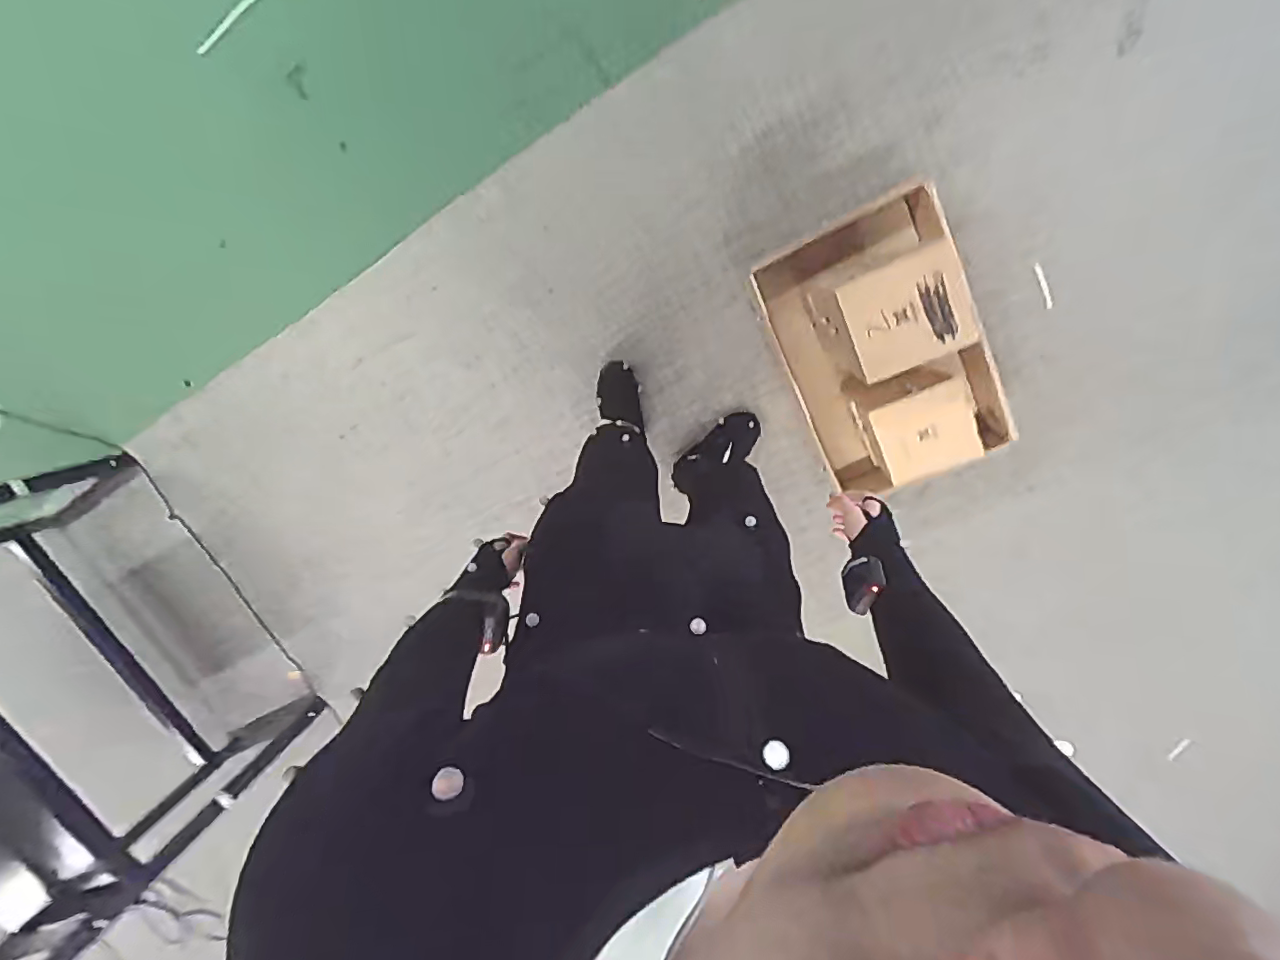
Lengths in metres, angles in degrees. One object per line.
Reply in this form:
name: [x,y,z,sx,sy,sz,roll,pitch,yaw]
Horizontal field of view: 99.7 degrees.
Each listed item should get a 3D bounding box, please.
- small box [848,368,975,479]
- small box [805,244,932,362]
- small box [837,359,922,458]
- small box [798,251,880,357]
small box: [0.566,-0.127,1.145,0.179,0.176,0.168,-21,102,16]
small box: [0.449,-0.353,1.084,0.179,0.176,0.168,-19,105,14]
small box: [0.589,-0.175,1.300,0.179,0.176,0.168,-24,103,16]
small box: [0.474,-0.402,1.239,0.179,0.176,0.168,-24,105,16]
